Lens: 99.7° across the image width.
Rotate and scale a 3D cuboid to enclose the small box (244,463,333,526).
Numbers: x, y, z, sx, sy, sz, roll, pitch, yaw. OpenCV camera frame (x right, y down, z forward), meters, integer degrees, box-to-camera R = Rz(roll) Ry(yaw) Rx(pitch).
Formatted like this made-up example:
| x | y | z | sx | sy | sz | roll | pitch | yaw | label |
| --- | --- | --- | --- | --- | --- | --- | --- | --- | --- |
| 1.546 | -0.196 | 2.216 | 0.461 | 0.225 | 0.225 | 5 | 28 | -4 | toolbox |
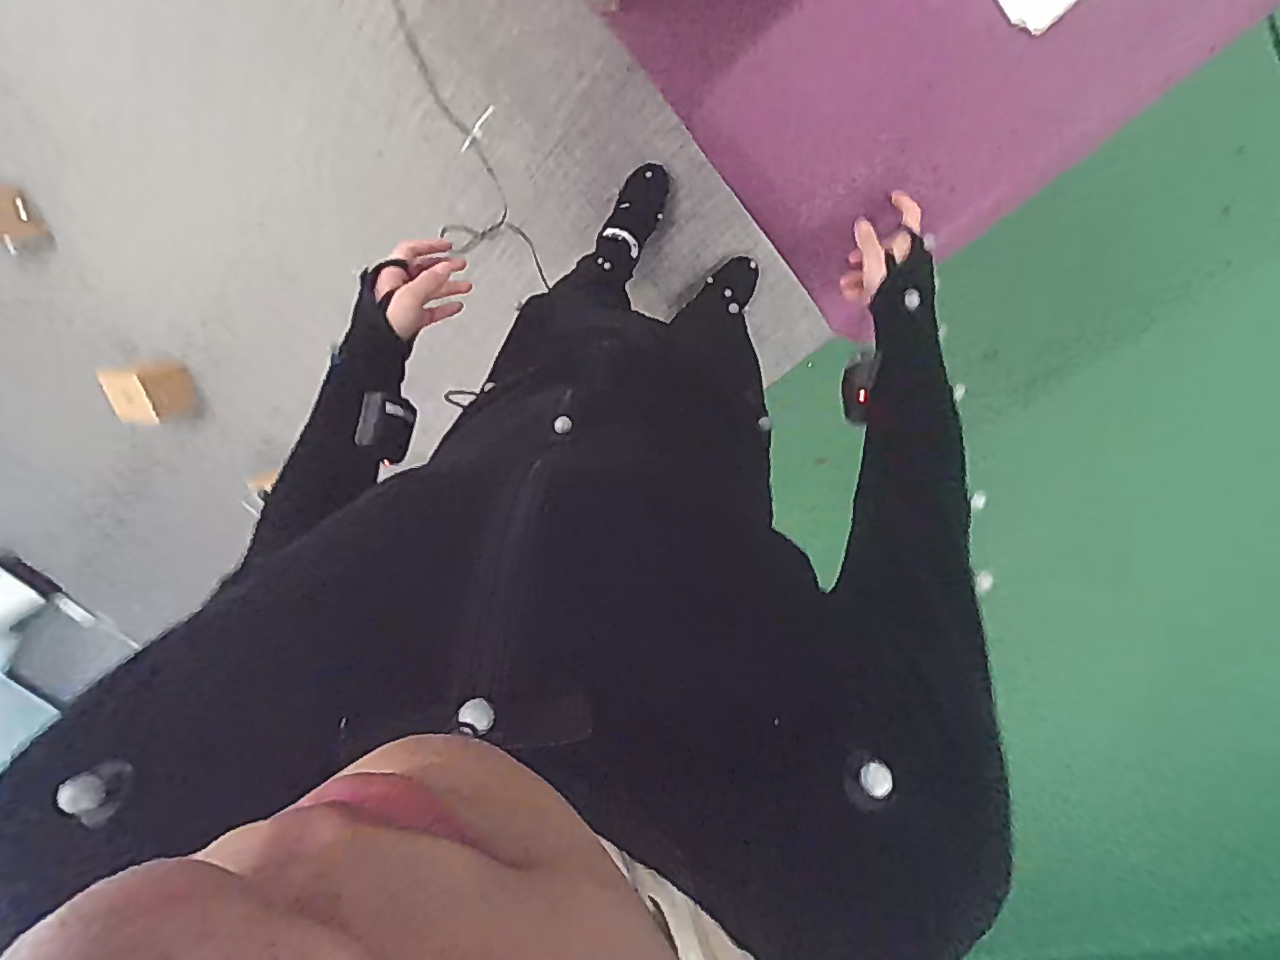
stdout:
| x | y | z | sx | sy | sz | roll | pitch | yaw | label |
| --- | --- | --- | --- | --- | --- | --- | --- | --- | --- |
| -1.271 | 0.051 | 1.966 | 0.179 | 0.176 | 0.168 | -4 | 117 | 14 | small box |
